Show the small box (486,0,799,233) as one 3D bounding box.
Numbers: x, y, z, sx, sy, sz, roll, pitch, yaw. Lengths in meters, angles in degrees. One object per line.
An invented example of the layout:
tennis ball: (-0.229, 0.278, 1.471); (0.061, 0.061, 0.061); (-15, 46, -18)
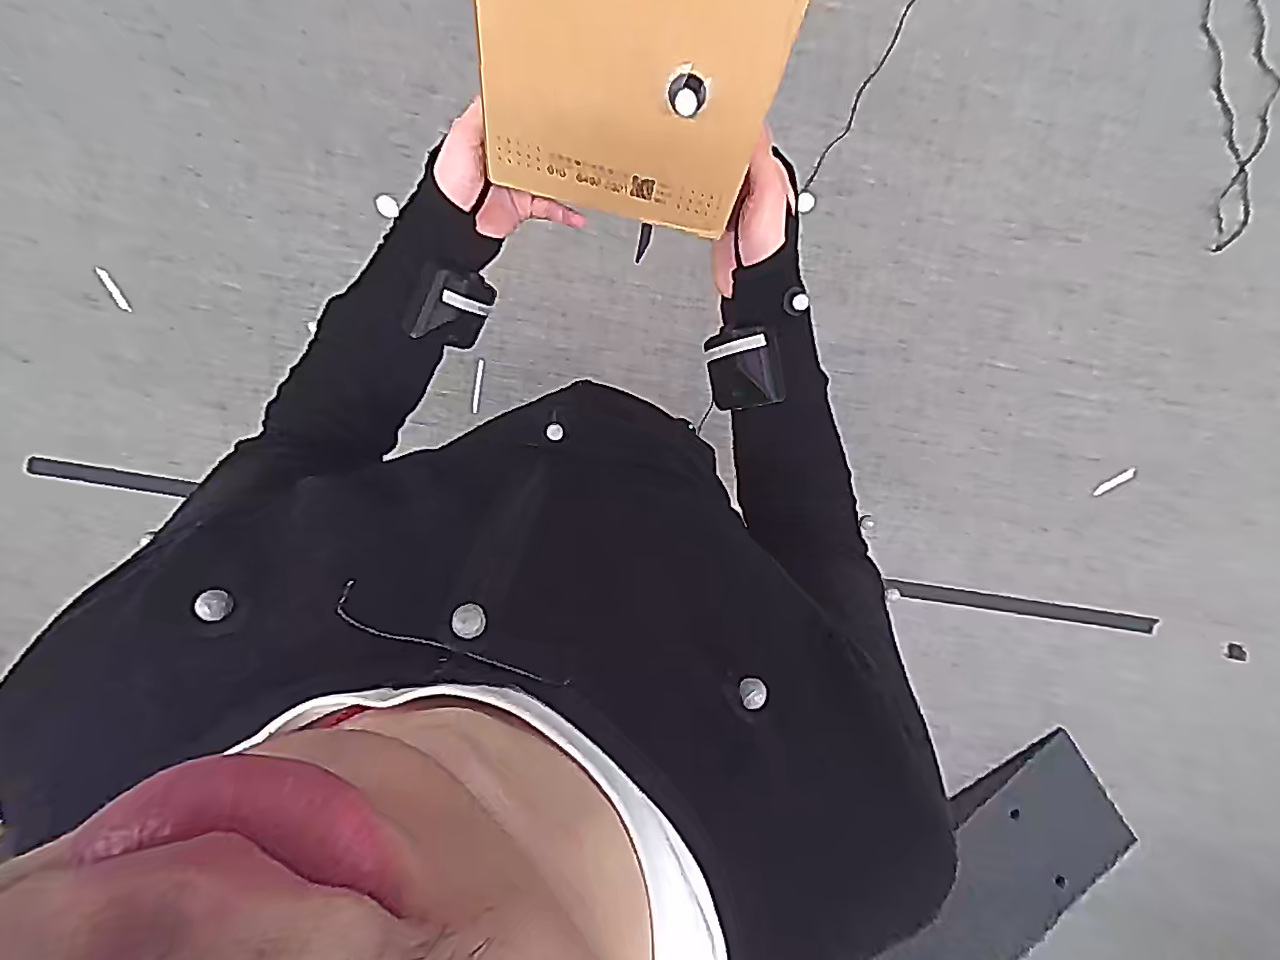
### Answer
small box: (0.003, -0.299, 0.354); (0.168, 0.176, 0.179); (13, 62, -7)
